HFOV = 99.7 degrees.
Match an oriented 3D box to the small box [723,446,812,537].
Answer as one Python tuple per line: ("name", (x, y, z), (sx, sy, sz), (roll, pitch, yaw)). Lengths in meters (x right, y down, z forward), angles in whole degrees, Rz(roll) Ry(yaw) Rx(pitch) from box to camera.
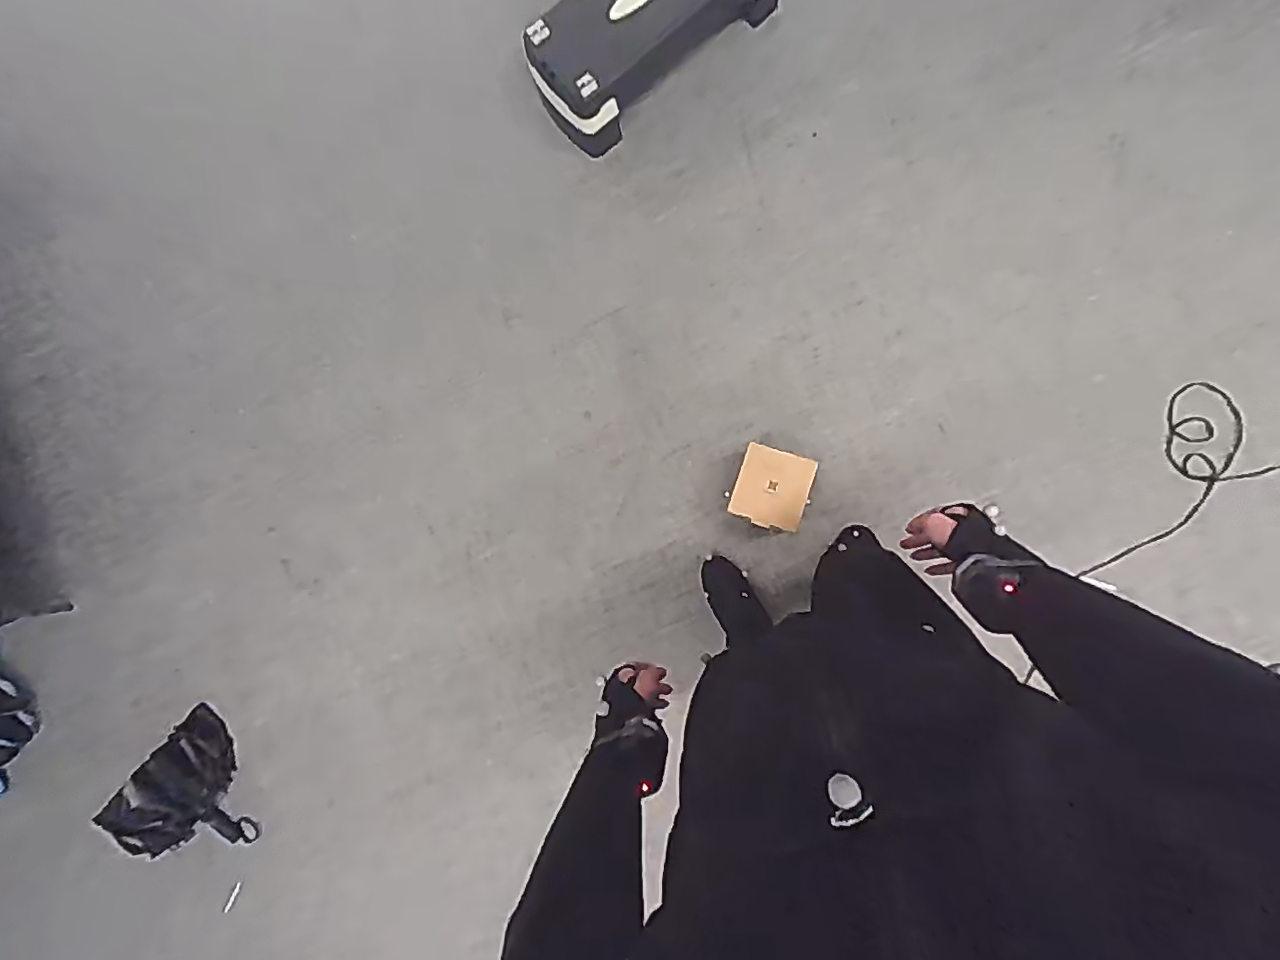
("small box", (0.307, 0.032, 1.335), (0.168, 0.176, 0.179), (17, 87, 8))
